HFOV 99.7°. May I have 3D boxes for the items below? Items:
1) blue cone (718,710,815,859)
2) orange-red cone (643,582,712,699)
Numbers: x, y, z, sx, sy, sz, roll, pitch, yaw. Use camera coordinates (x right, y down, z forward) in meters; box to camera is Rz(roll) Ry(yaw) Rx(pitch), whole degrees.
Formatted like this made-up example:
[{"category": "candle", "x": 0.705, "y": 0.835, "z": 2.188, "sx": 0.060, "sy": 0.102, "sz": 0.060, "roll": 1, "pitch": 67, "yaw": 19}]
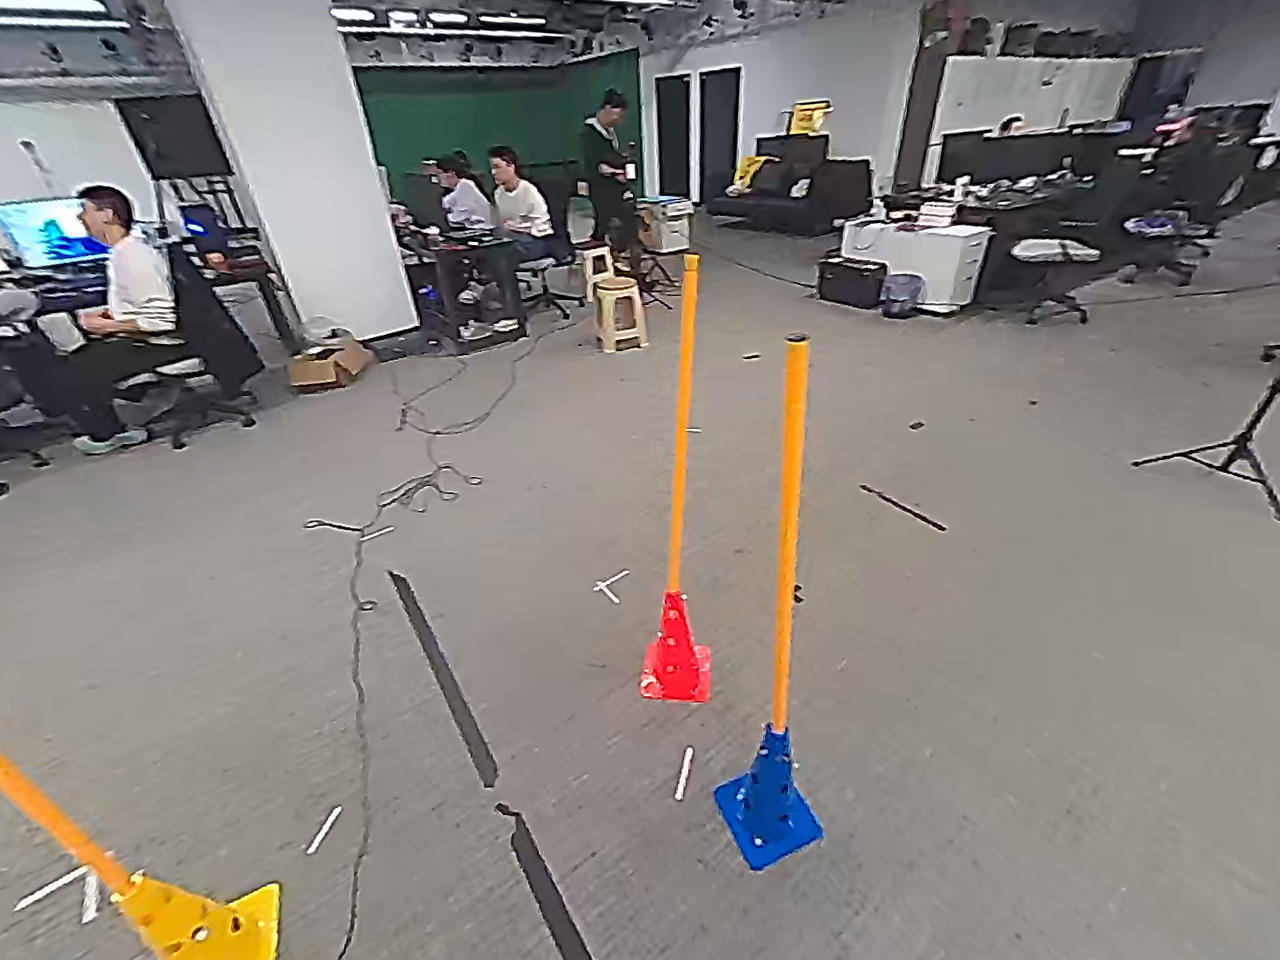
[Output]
[{"category": "blue cone", "x": 0.294, "y": 0.656, "z": 1.218, "sx": 0.193, "sy": 0.380, "sz": 0.192, "roll": -14, "pitch": 34, "yaw": -15}, {"category": "orange-red cone", "x": 0.105, "y": 0.433, "z": 1.552, "sx": 0.198, "sy": 0.360, "sz": 0.199, "roll": 2, "pitch": 35, "yaw": 11}]
